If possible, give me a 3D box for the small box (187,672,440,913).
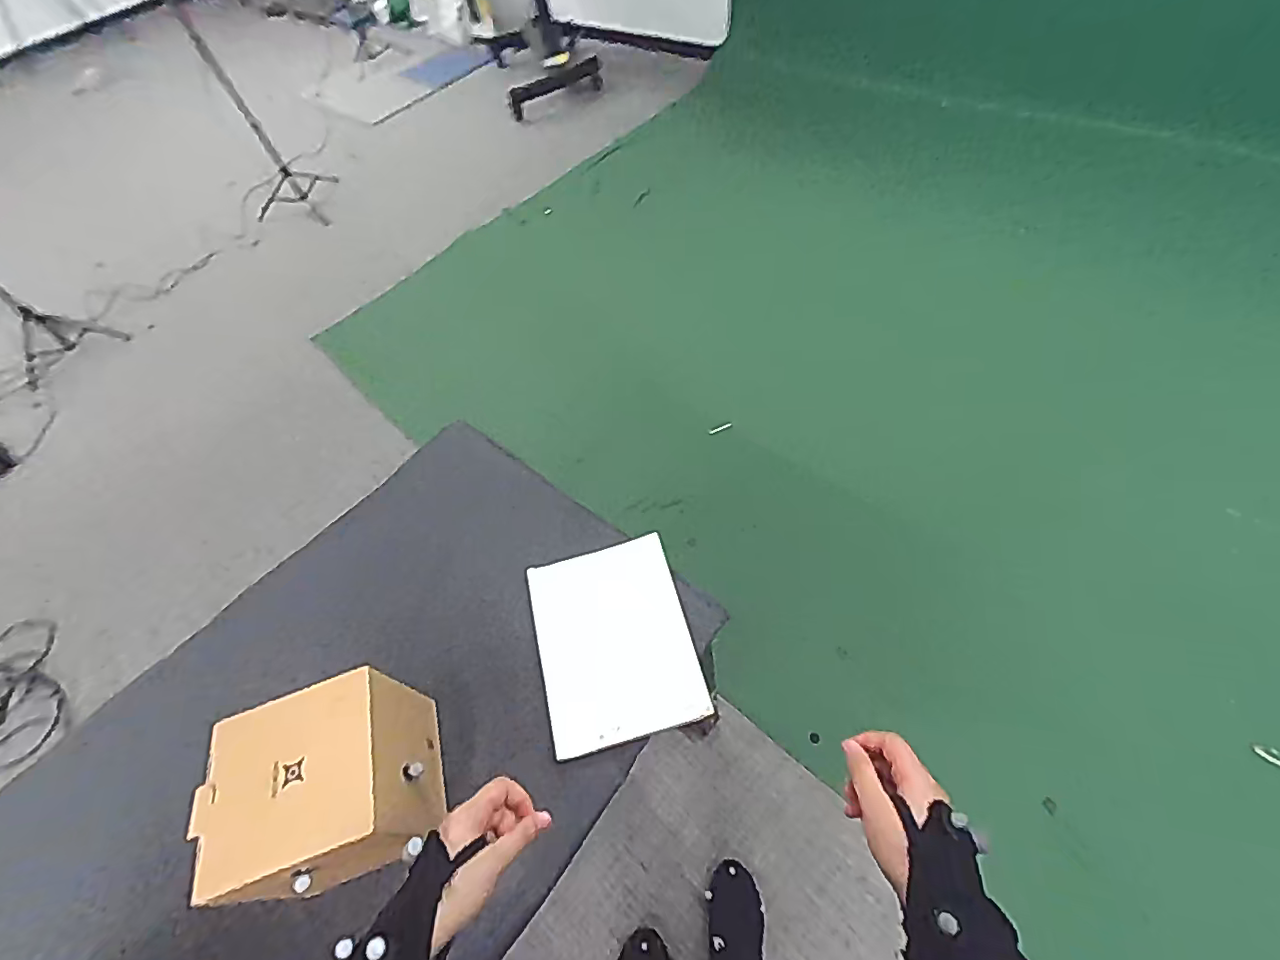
[{"bbox_3d":[-0.339,0.340,0.599,0.179,0.176,0.168,-21,55,-4],"label":"small box"}]
